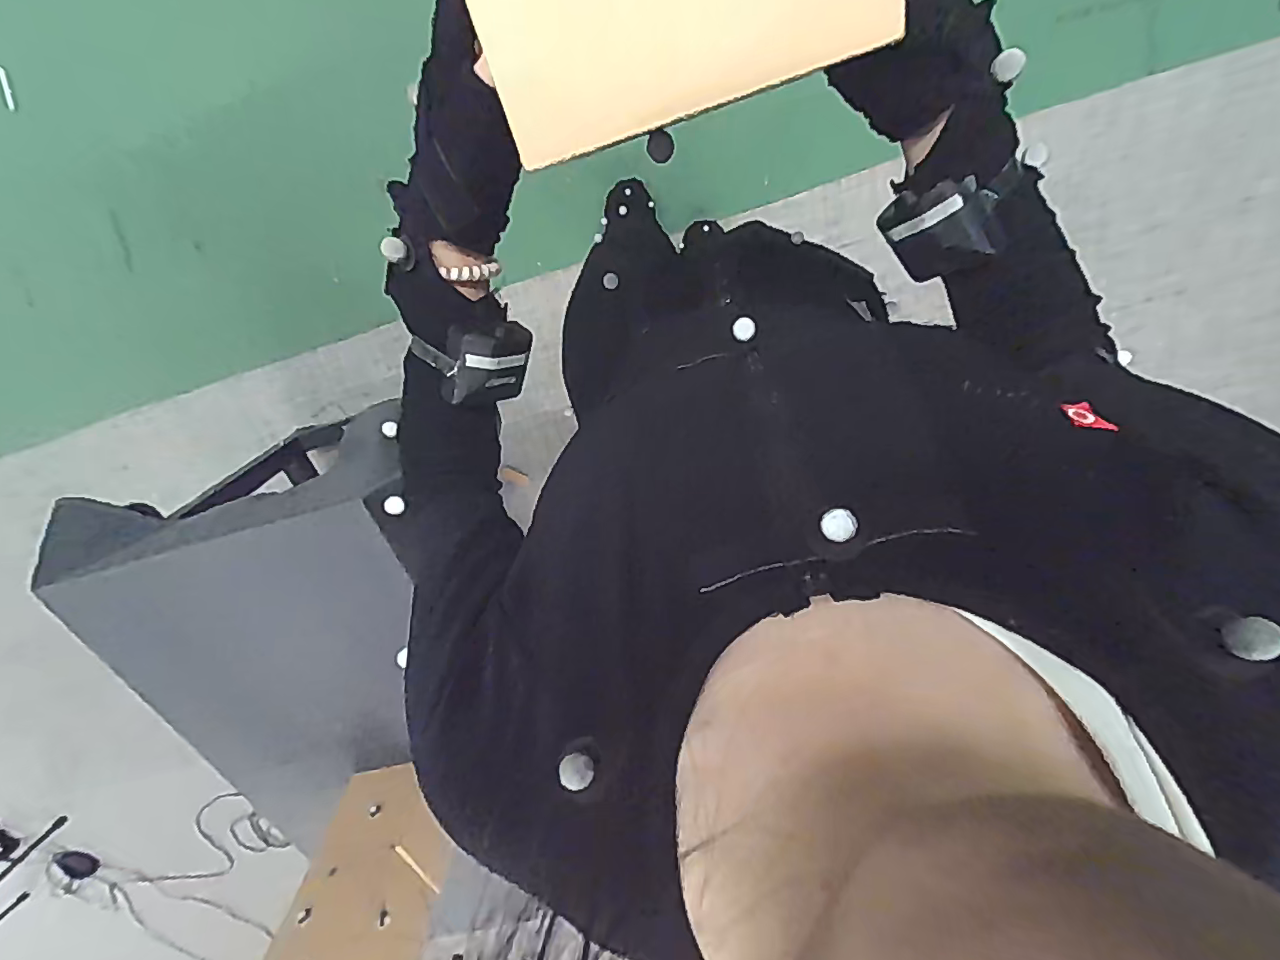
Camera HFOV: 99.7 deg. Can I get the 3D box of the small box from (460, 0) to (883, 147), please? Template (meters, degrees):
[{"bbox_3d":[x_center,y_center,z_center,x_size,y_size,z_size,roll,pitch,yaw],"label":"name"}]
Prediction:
[{"bbox_3d":[0.002,-0.280,0.252,0.168,0.176,0.179,-13,120,12],"label":"small box"}]

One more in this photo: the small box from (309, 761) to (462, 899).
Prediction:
[{"bbox_3d":[-0.471,0.672,1.029,0.179,0.176,0.168,-14,116,7],"label":"small box"}]

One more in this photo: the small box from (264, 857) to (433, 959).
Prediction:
[{"bbox_3d":[-0.473,0.749,0.886,0.168,0.176,0.179,-16,116,9],"label":"small box"}]
